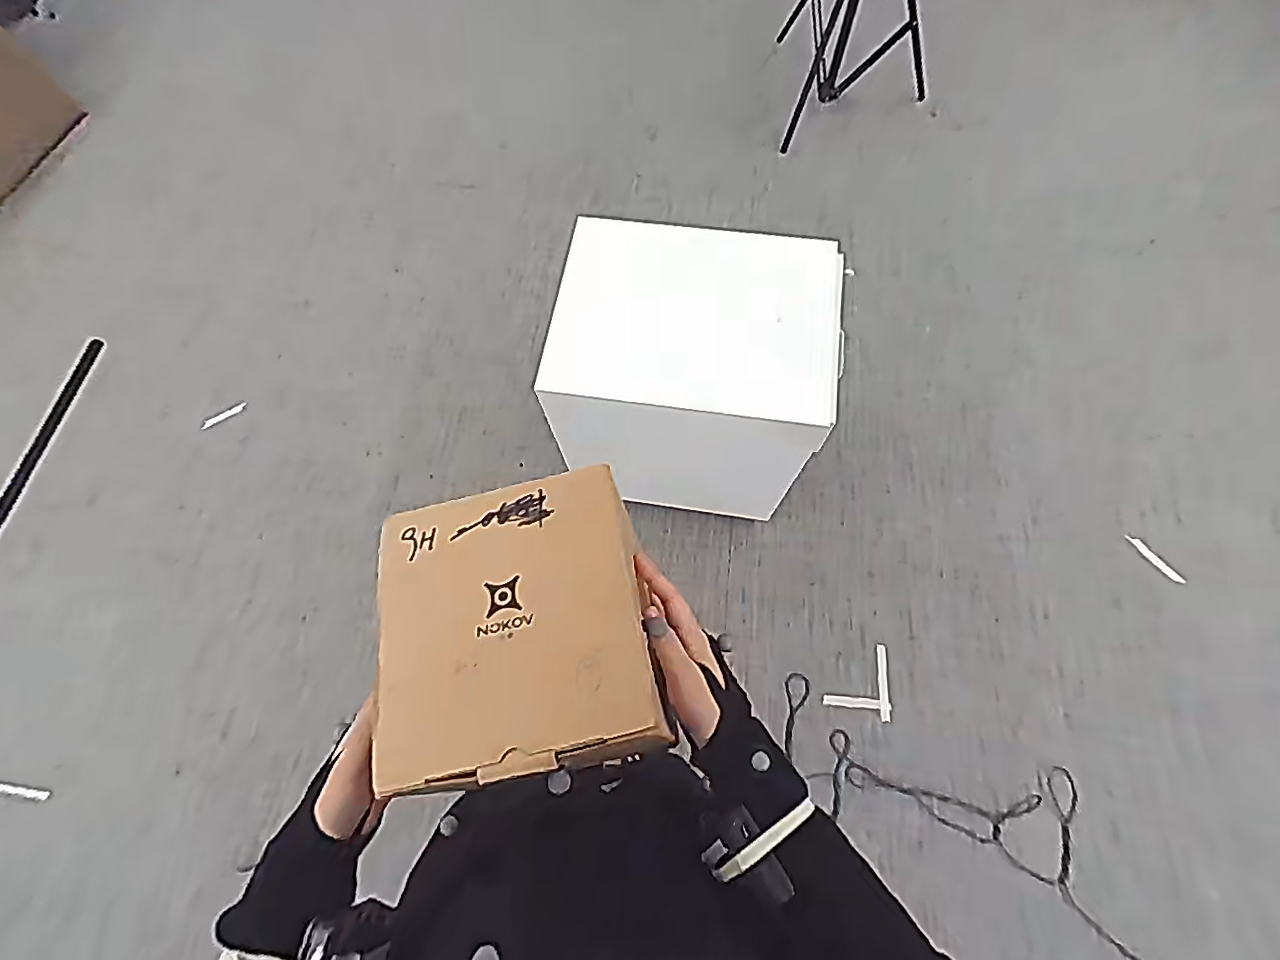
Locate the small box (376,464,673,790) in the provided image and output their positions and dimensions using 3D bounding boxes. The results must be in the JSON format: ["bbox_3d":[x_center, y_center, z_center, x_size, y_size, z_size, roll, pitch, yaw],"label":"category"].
[{"bbox_3d":[-0.075,0.116,0.411,0.168,0.176,0.179,-14,62,1],"label":"small box"}]
